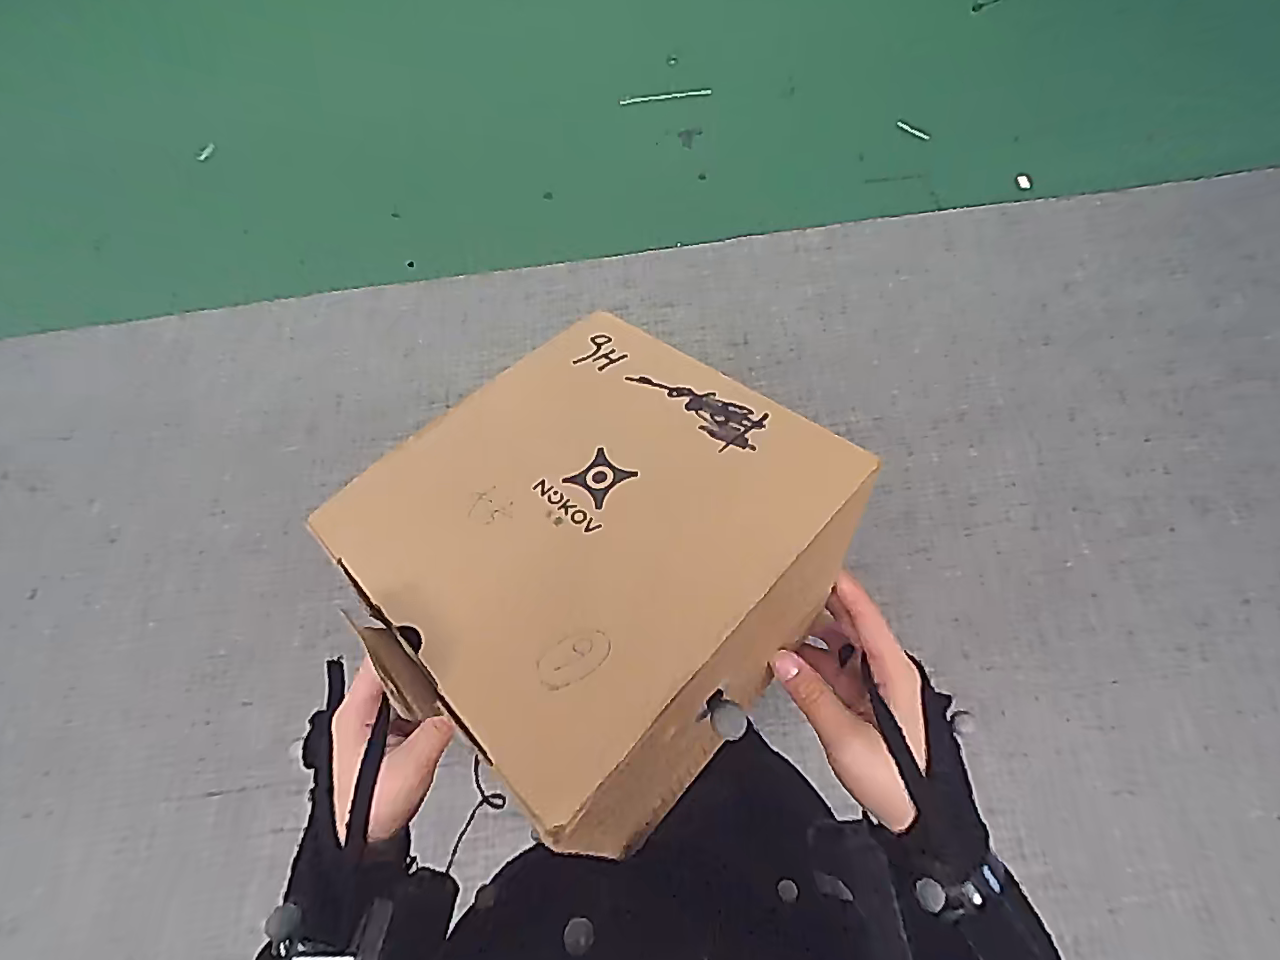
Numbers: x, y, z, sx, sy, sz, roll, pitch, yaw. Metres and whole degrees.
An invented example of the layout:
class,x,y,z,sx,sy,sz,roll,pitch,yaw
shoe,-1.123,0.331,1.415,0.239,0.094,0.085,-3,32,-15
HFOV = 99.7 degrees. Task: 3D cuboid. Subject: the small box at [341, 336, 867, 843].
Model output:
class,x,y,z,sx,sy,sz,roll,pitch,yaw
small box,-0.009,0.062,0.295,0.168,0.176,0.179,35,65,28
